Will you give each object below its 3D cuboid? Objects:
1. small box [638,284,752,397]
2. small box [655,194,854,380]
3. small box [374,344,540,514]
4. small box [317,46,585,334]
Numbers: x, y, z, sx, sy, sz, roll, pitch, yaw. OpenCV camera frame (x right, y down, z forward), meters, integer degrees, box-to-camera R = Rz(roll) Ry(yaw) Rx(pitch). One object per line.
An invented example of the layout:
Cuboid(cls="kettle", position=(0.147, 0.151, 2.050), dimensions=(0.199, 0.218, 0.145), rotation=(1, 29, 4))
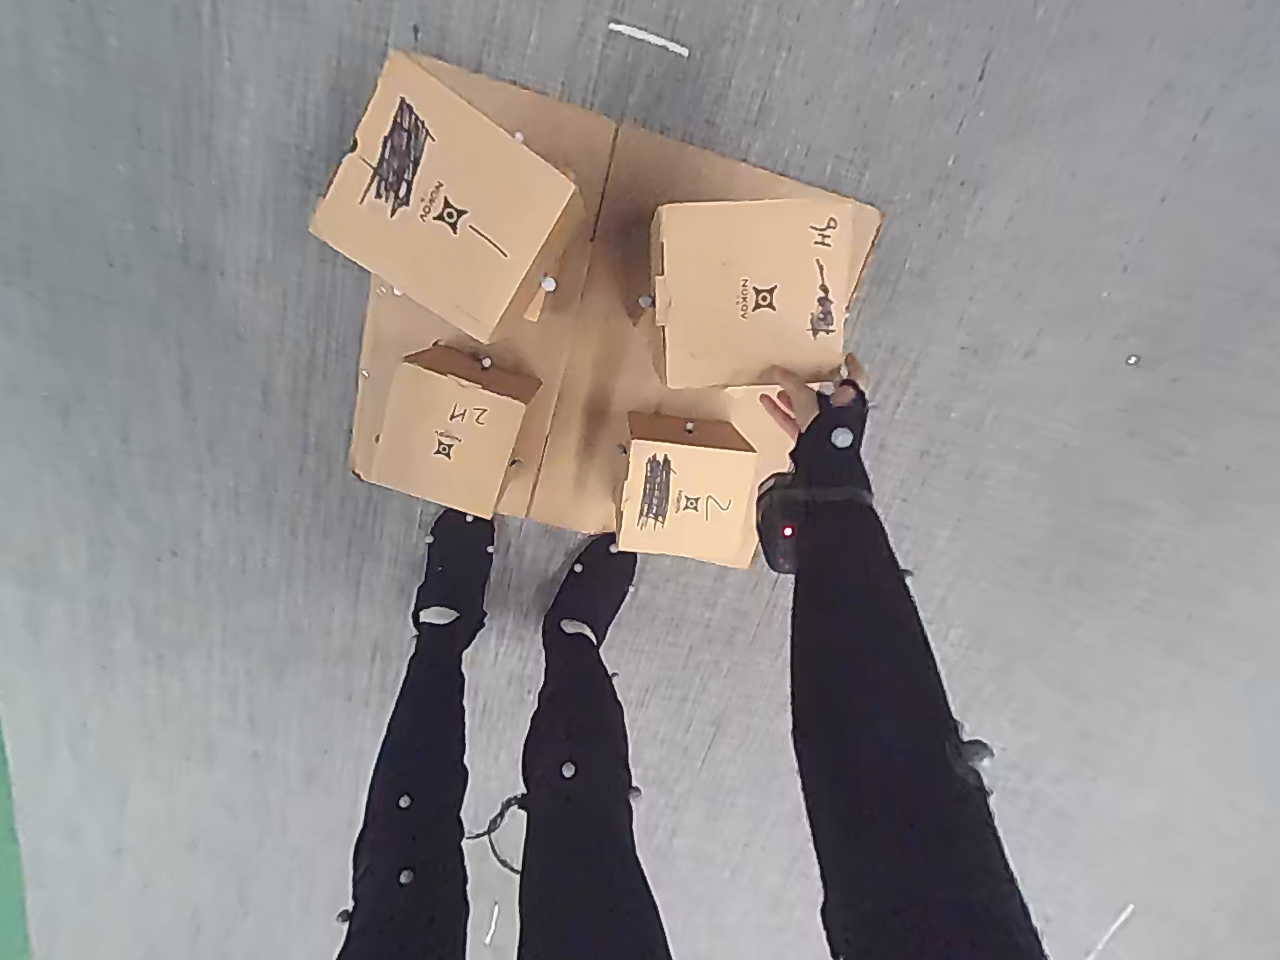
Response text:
Cuboid(cls="small box", position=(0.106, -0.242, 0.740), dimensions=(0.168, 0.176, 0.179), rotation=(33, 104, -12))
Cuboid(cls="small box", position=(0.105, -0.200, 0.581), dimensions=(0.179, 0.176, 0.168), rotation=(-2, 108, -1))
Cuboid(cls="small box", position=(-0.252, -0.080, 0.780), dimensions=(0.168, 0.176, 0.179), rotation=(19, 107, -10))
Cuboid(cls="small box", position=(-0.172, -0.267, 0.547), dimensions=(0.179, 0.176, 0.168), rotation=(33, 104, -13))
